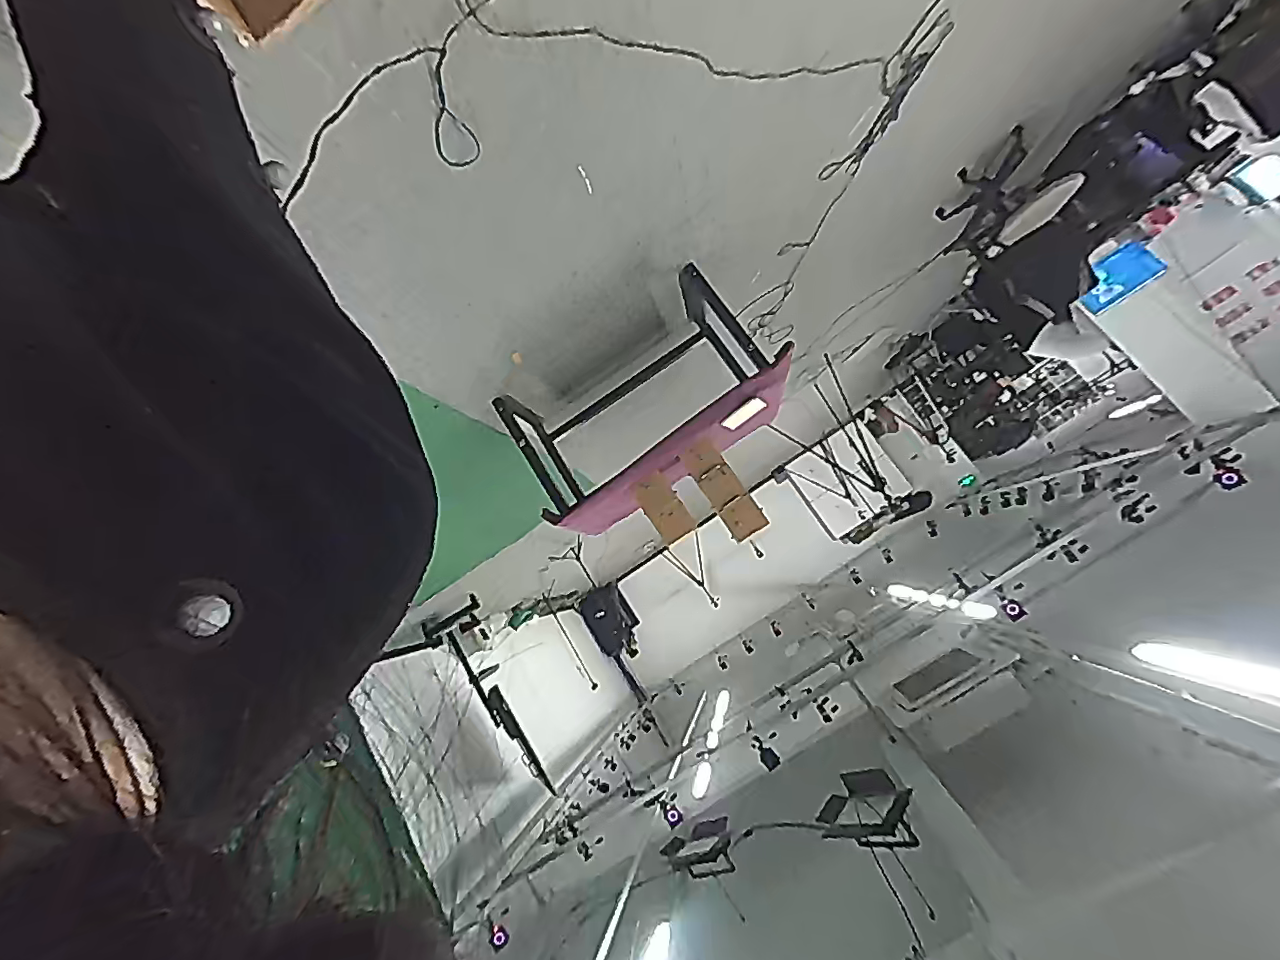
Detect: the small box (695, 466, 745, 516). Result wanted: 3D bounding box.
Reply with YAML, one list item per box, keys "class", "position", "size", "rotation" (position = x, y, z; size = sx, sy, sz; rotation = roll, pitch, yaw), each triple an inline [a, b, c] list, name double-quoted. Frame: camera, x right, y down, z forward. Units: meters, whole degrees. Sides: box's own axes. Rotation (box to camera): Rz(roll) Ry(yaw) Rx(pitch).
- class: "small box"
  position: [0.369, 0.051, 2.512]
  size: [0.168, 0.176, 0.179]
  rotation: [-34, 168, 3]

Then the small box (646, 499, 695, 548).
- class: "small box"
  position: [0.144, 0.205, 2.537]
  size: [0.168, 0.176, 0.179]
  rotation: [-34, 167, 3]

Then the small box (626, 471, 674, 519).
- class: "small box"
  position: [0.055, 0.073, 2.567]
  size: [0.168, 0.176, 0.179]
  rotation: [-35, 167, 3]

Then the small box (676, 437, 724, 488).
- class: "small box"
  position: [0.282, -0.082, 2.557]
  size: [0.168, 0.176, 0.179]
  rotation: [-33, 166, 3]

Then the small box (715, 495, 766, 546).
- class: "small box"
  position: [0.455, 0.184, 2.470]
  size: [0.168, 0.176, 0.179]
  rotation: [-33, 167, 2]
